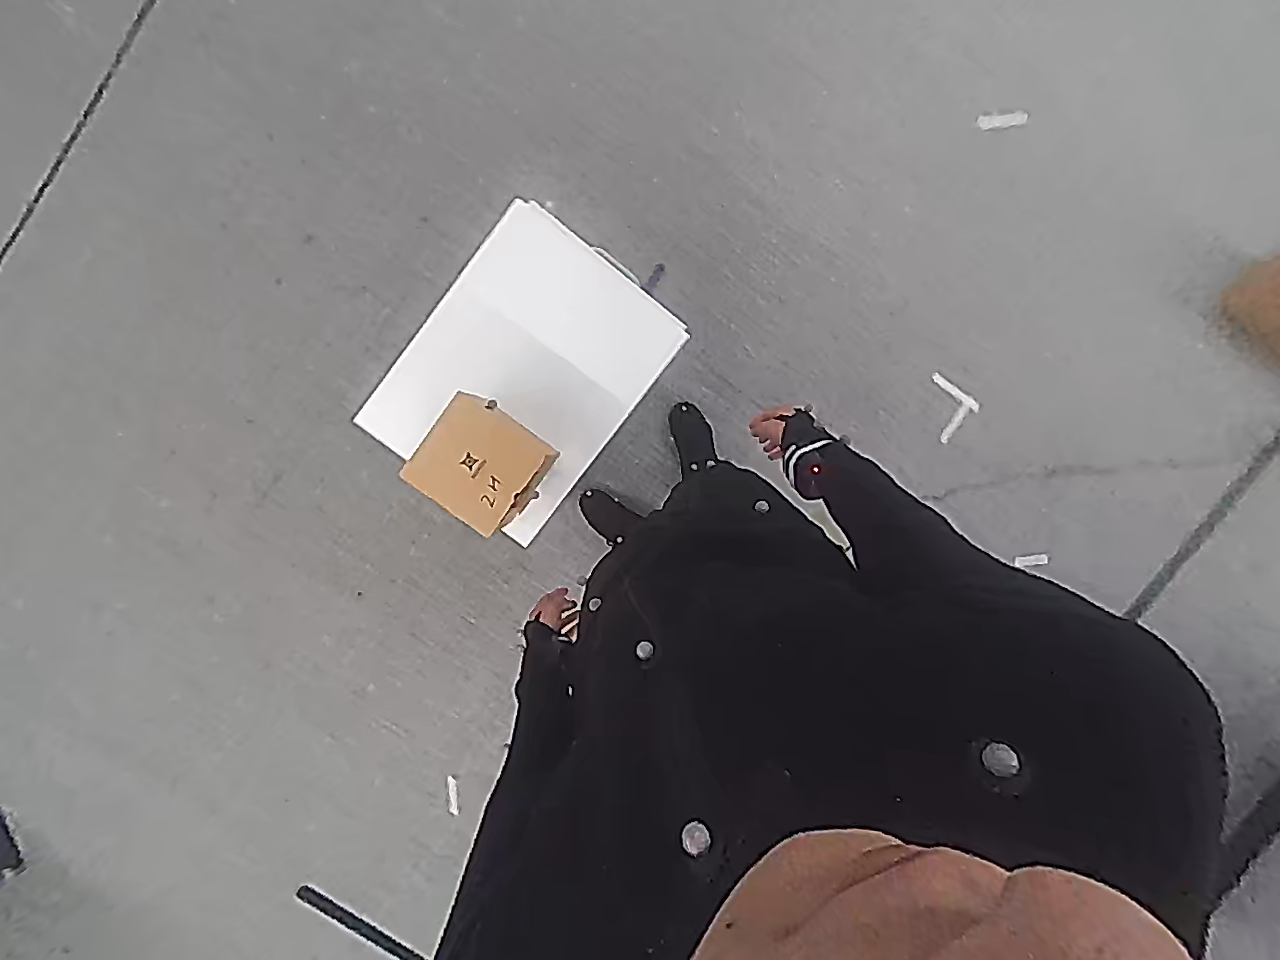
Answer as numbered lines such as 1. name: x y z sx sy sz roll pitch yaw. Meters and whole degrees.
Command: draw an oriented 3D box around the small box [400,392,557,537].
1. small box: -0.264 -0.028 0.928 0.179 0.176 0.168 36 93 -4
